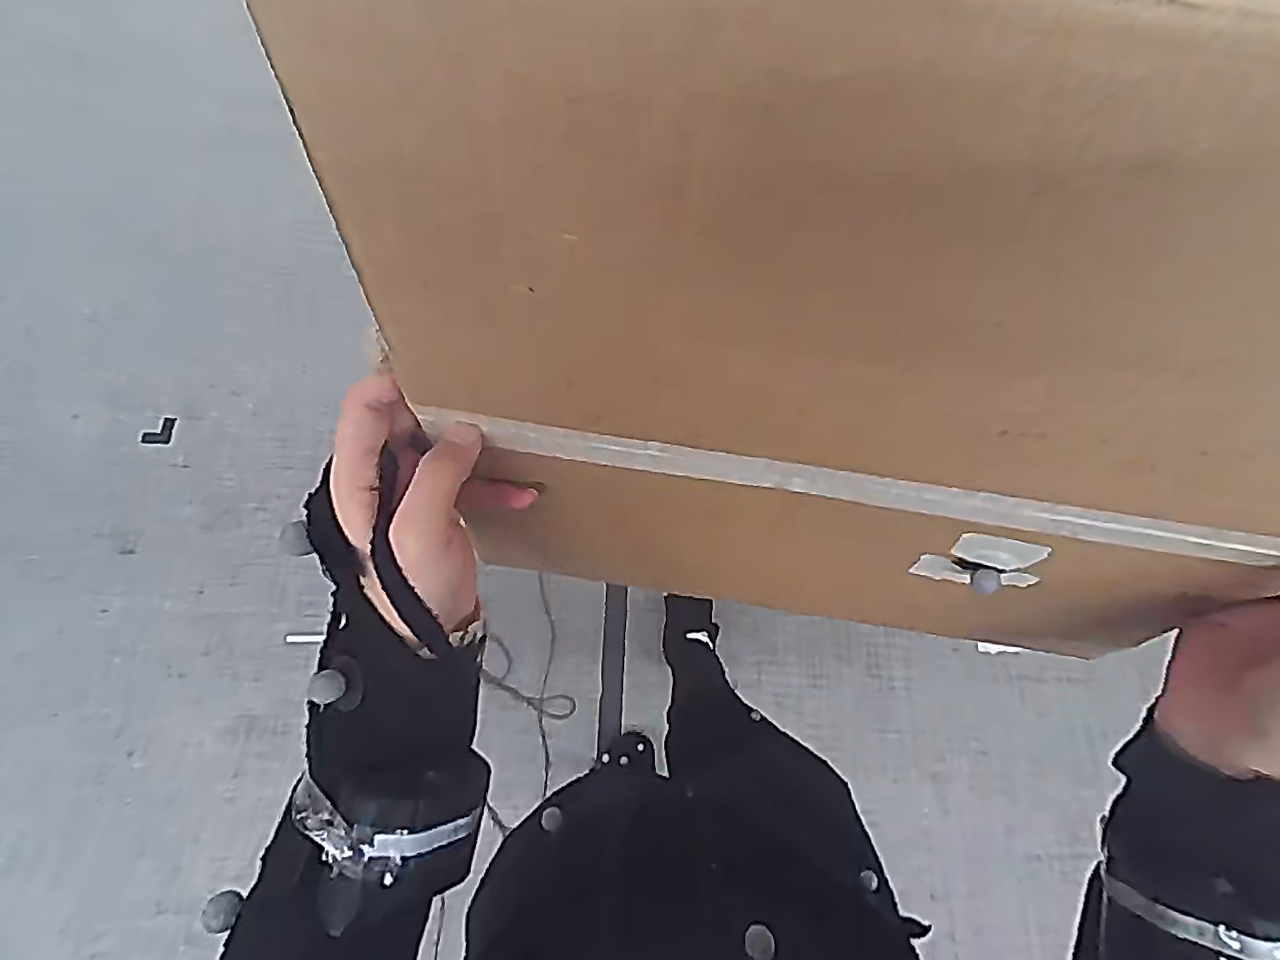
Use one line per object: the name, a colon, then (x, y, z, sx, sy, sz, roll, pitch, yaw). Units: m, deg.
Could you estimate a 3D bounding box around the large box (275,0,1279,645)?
large box: (0.120, -0.123, 0.321, 0.408, 0.320, 0.320, 8, 58, 0)
